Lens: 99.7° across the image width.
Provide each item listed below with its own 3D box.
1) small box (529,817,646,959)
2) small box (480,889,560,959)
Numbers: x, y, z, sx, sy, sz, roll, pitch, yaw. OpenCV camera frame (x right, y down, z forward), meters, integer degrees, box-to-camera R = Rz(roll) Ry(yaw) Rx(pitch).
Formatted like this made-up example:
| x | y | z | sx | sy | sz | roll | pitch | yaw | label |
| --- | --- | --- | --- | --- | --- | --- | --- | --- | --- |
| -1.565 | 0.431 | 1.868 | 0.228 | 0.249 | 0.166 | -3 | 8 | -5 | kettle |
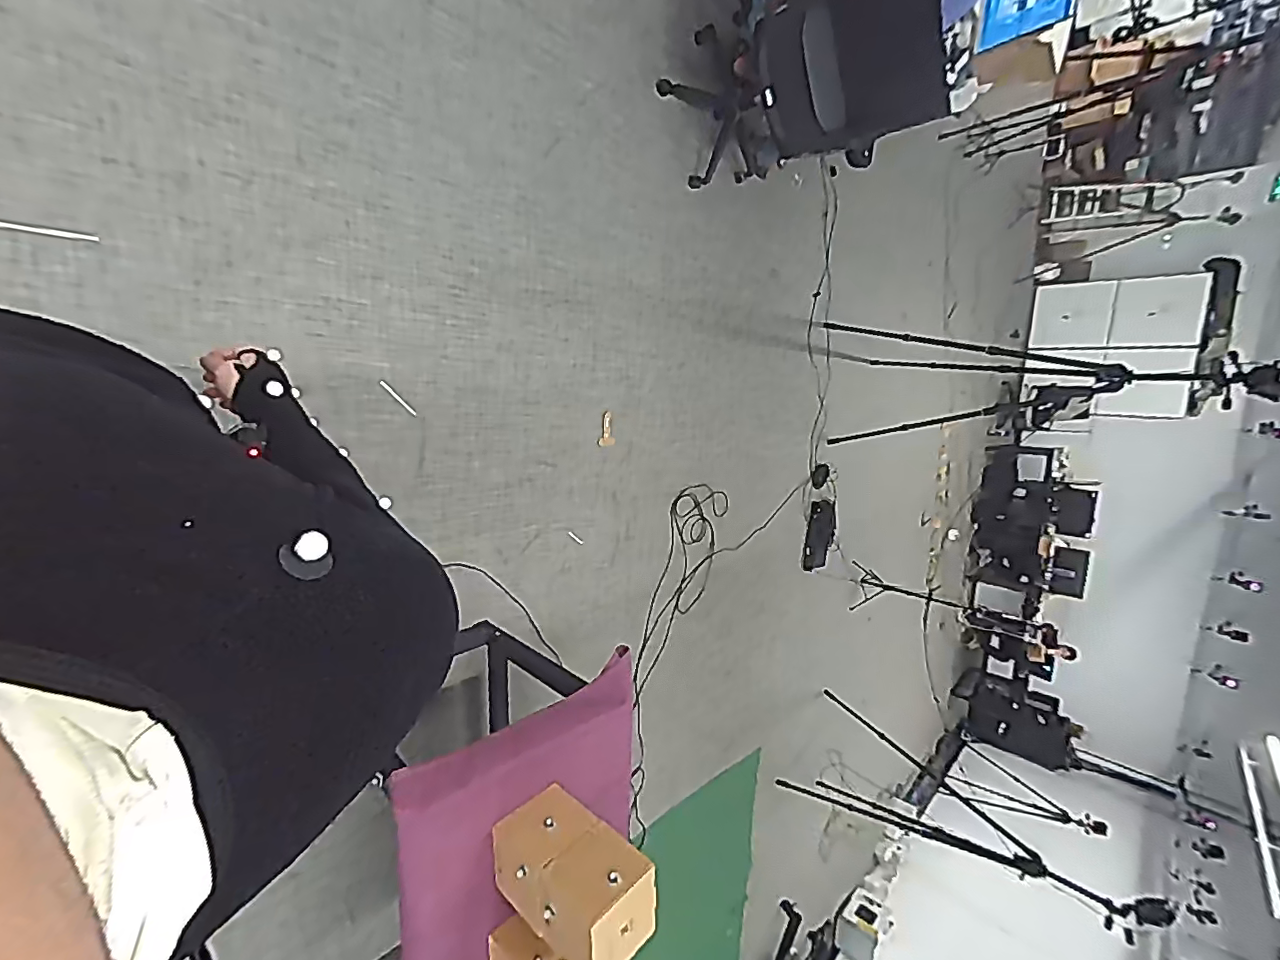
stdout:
| x | y | z | sx | sy | sz | roll | pitch | yaw | label |
| --- | --- | --- | --- | --- | --- | --- | --- | --- | --- |
| -0.108 | 0.844 | 1.108 | 0.179 | 0.176 | 0.168 | -12 | 107 | -46 | small box |
| -0.250 | 1.097 | 1.255 | 0.179 | 0.176 | 0.168 | -10 | 106 | -45 | small box |
